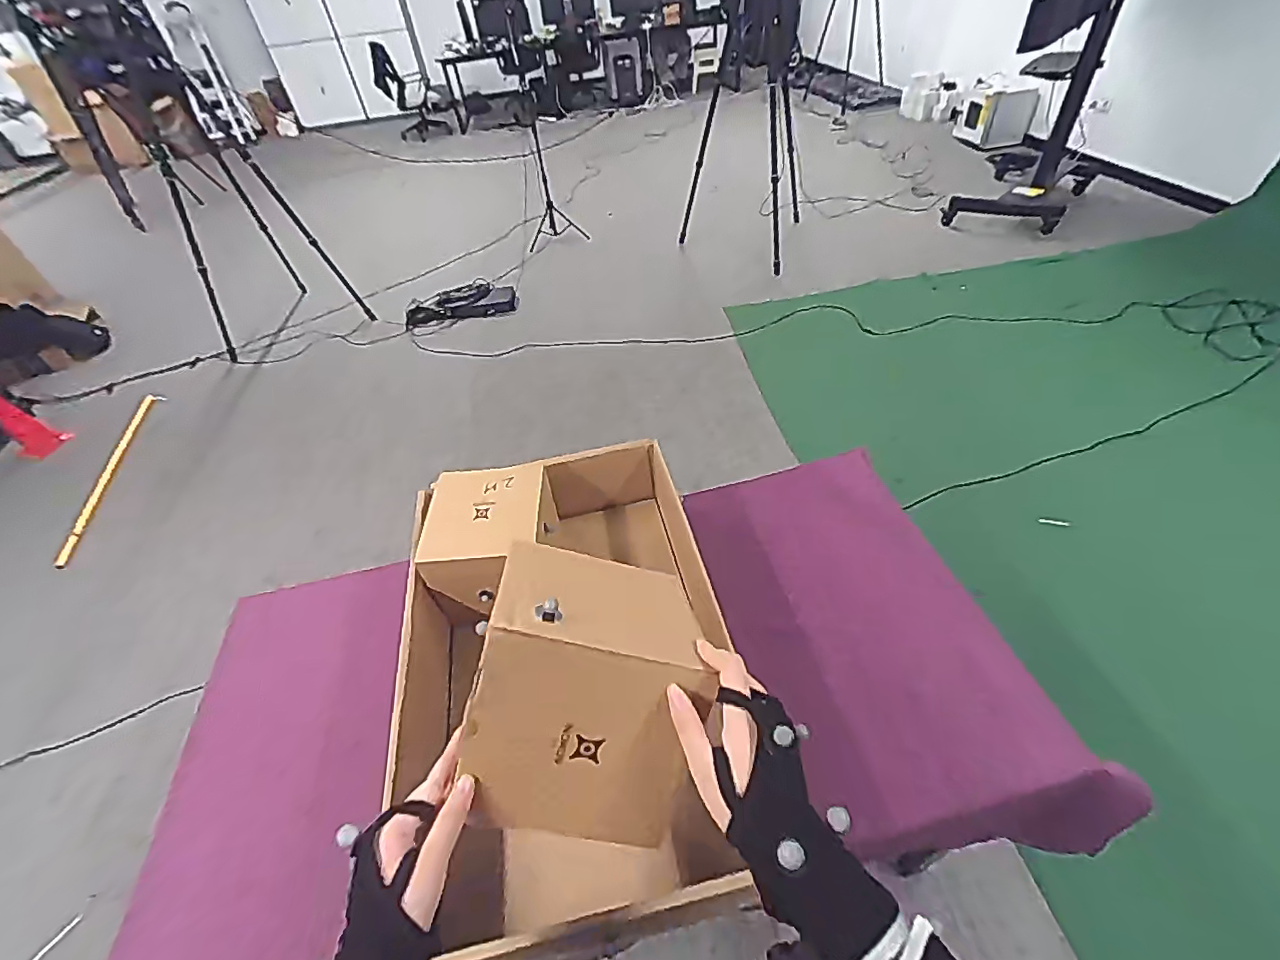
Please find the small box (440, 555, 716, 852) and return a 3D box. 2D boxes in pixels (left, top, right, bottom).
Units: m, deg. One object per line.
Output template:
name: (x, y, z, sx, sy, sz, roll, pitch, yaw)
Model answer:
small box: (-0.055, 0.184, 0.482, 0.179, 0.168, 0.176, 15, 13, -9)
